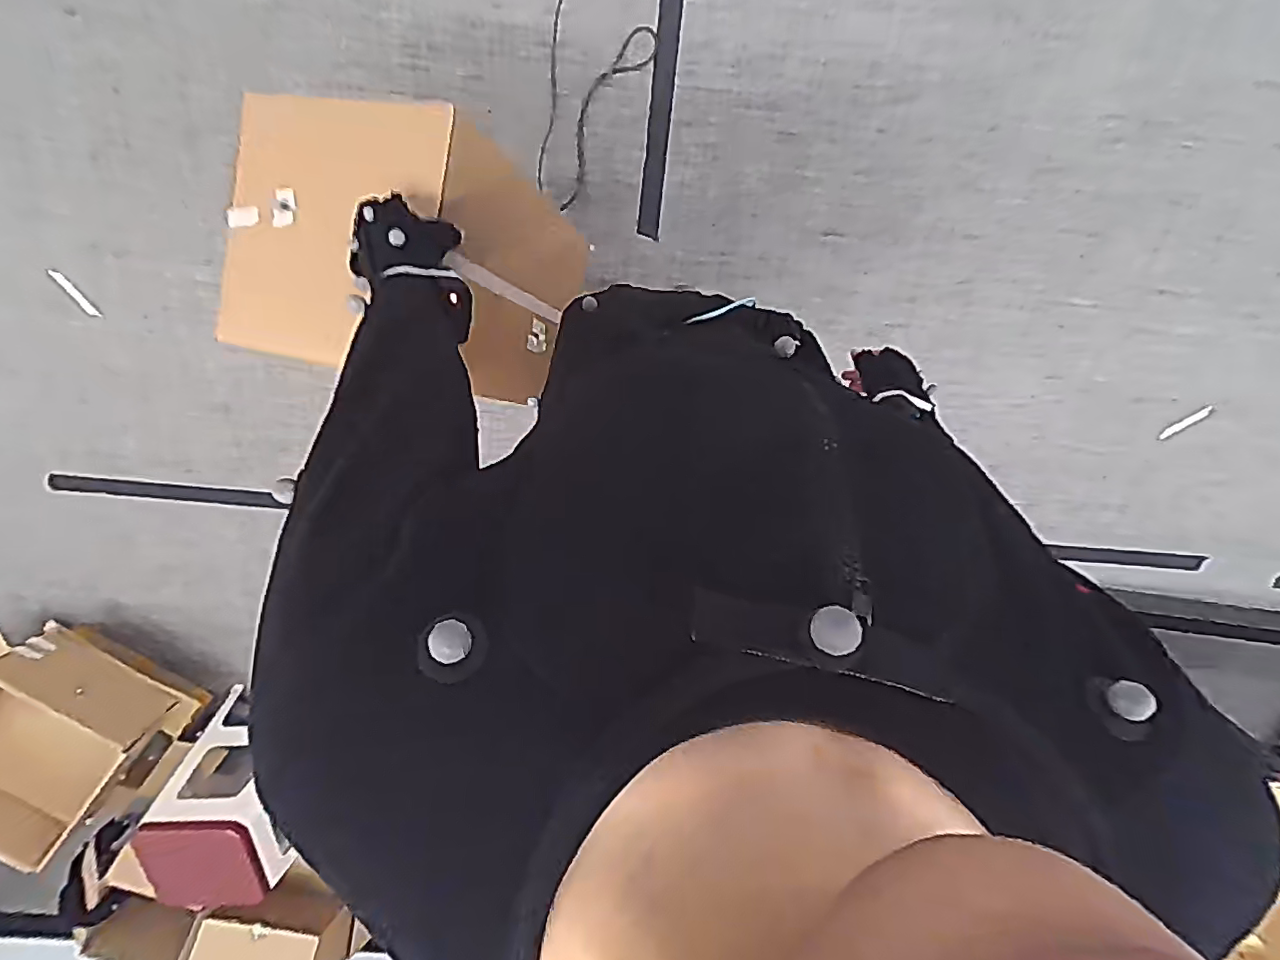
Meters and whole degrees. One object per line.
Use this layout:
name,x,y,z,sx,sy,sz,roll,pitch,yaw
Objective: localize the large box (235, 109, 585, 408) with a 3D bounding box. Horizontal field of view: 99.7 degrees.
large box,-0.322,-0.305,0.849,0.320,0.408,0.320,14,96,13
